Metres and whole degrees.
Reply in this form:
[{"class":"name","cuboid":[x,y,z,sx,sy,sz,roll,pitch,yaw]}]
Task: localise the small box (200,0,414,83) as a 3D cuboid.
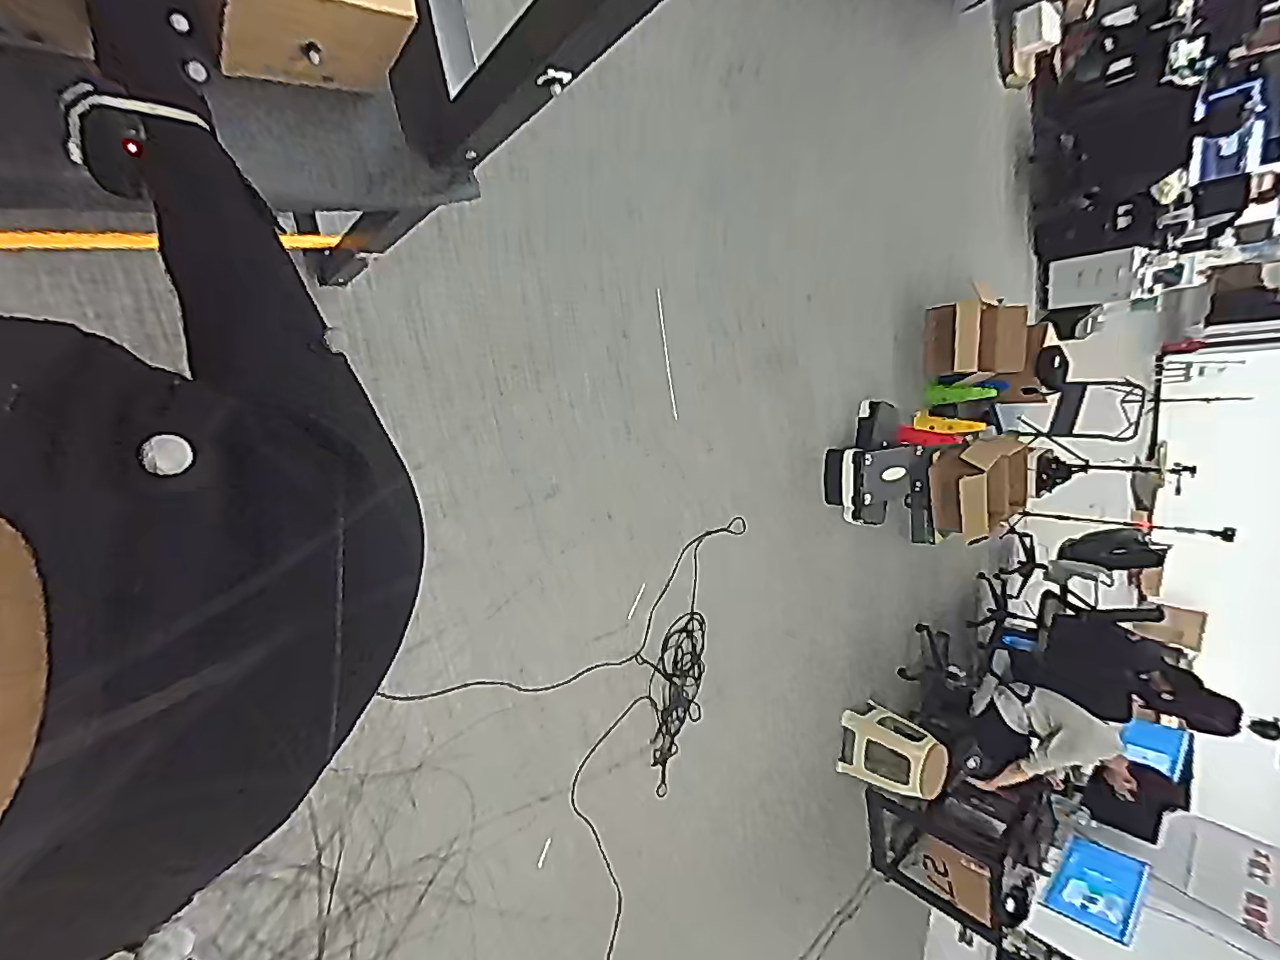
[{"class":"small box","cuboid":[-0.358,-0.547,0.553,0.168,0.176,0.179,-21,107,-37]}]
